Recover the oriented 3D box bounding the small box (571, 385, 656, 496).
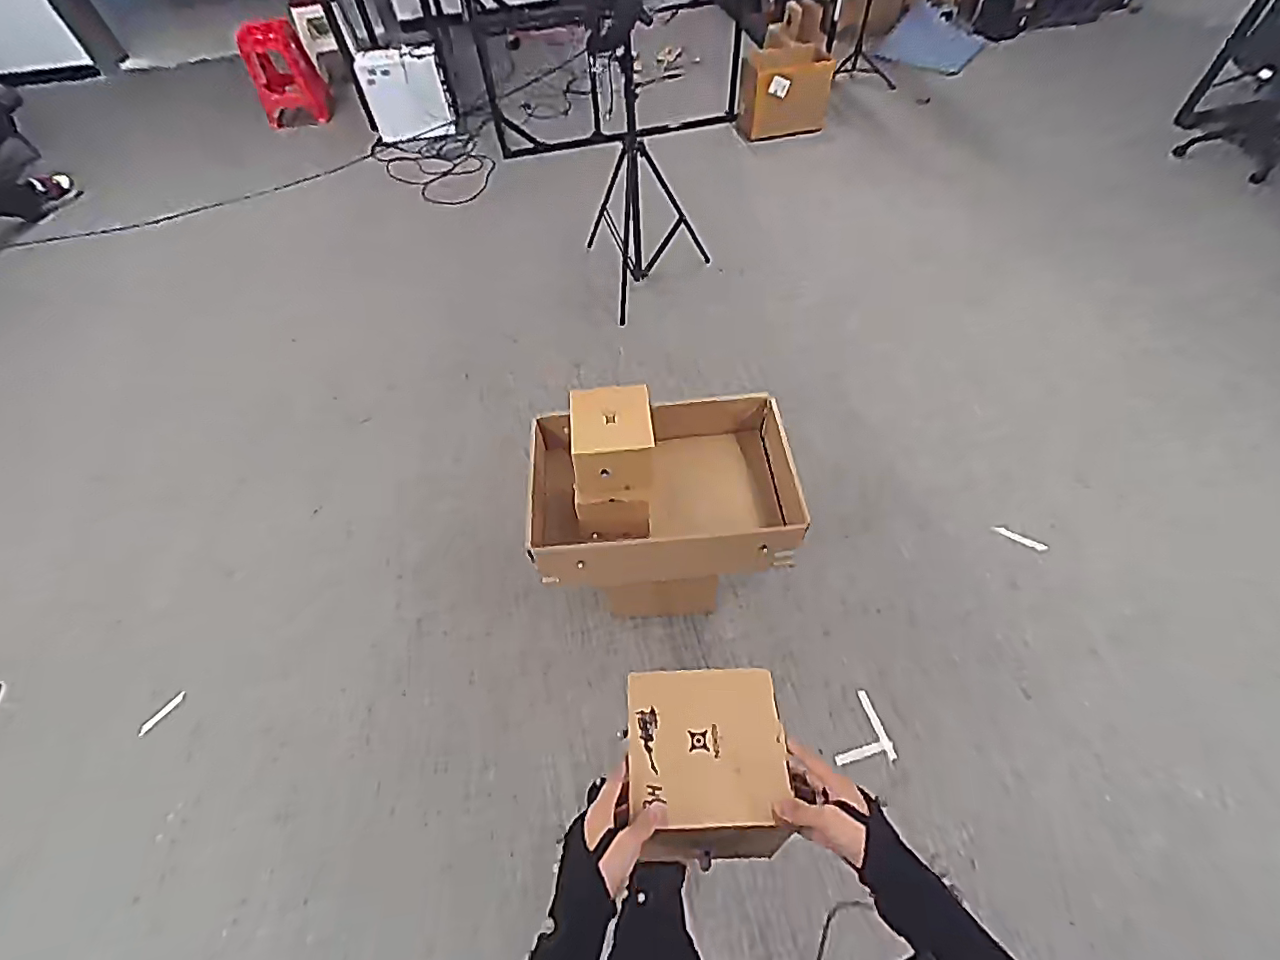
[{"bbox_3d":[-0.055,-0.078,1.163,0.168,0.176,0.179,-6,54,-2],"label":"small box"}]

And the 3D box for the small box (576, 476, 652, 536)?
[{"bbox_3d":[-0.058,0.025,1.291,0.168,0.176,0.179,-2,55,1],"label":"small box"}]

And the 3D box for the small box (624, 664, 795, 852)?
[{"bbox_3d":[0.070,0.339,0.659,0.179,0.176,0.168,0,46,-1],"label":"small box"}]
